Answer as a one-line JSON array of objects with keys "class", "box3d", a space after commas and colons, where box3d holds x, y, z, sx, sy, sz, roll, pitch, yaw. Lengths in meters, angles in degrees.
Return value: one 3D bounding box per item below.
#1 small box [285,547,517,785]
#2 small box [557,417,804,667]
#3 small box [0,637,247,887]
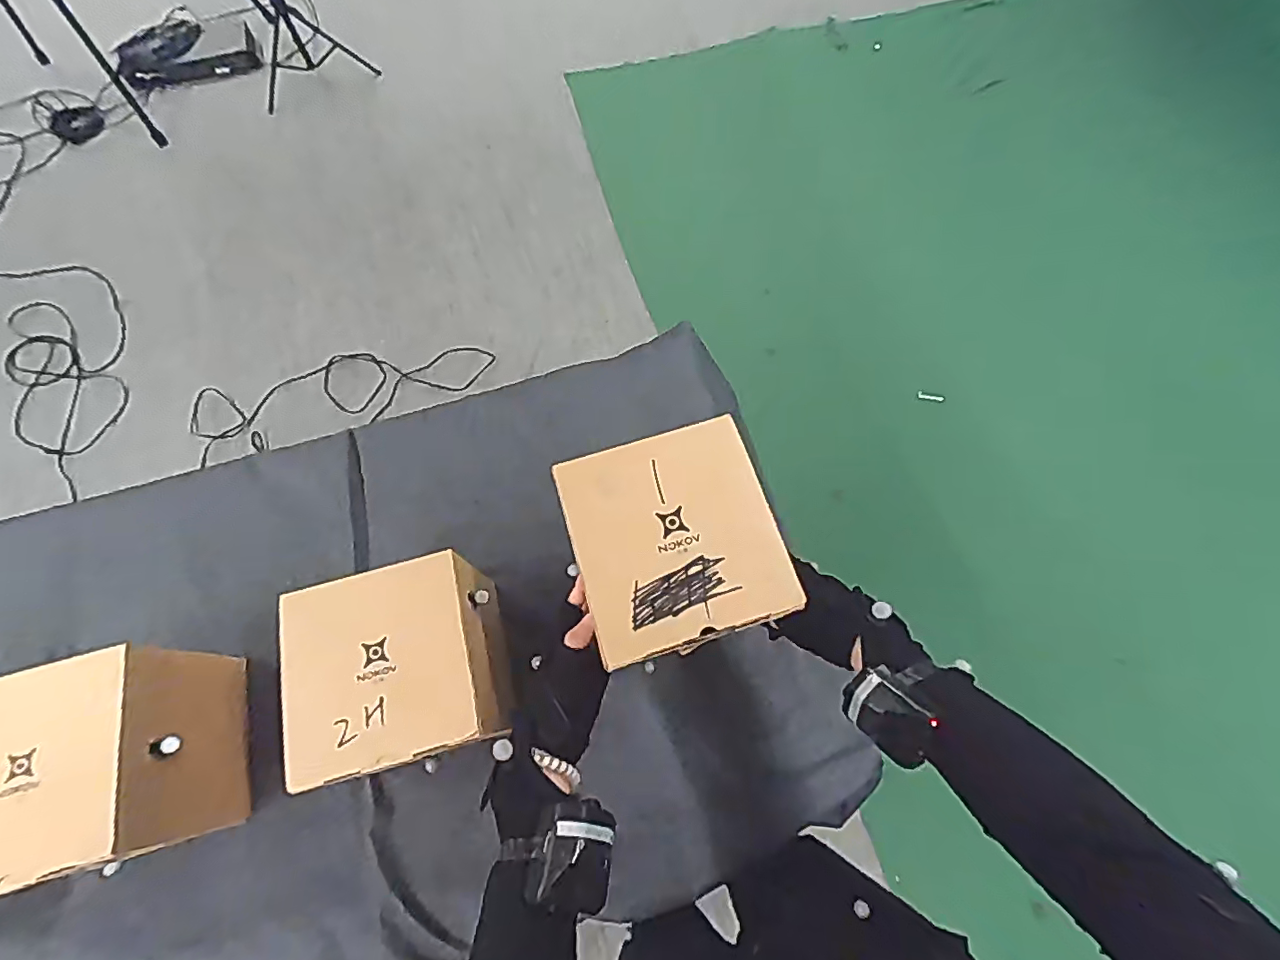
[{"class": "small box", "box3d": [-0.236, 0.190, 0.562, 0.168, 0.176, 0.179, -14, 69, -6]}, {"class": "small box", "box3d": [0.030, 0.068, 0.519, 0.168, 0.176, 0.179, -16, 72, -6]}, {"class": "small box", "box3d": [-0.522, 0.270, 0.529, 0.168, 0.176, 0.179, -15, 70, -7]}]
